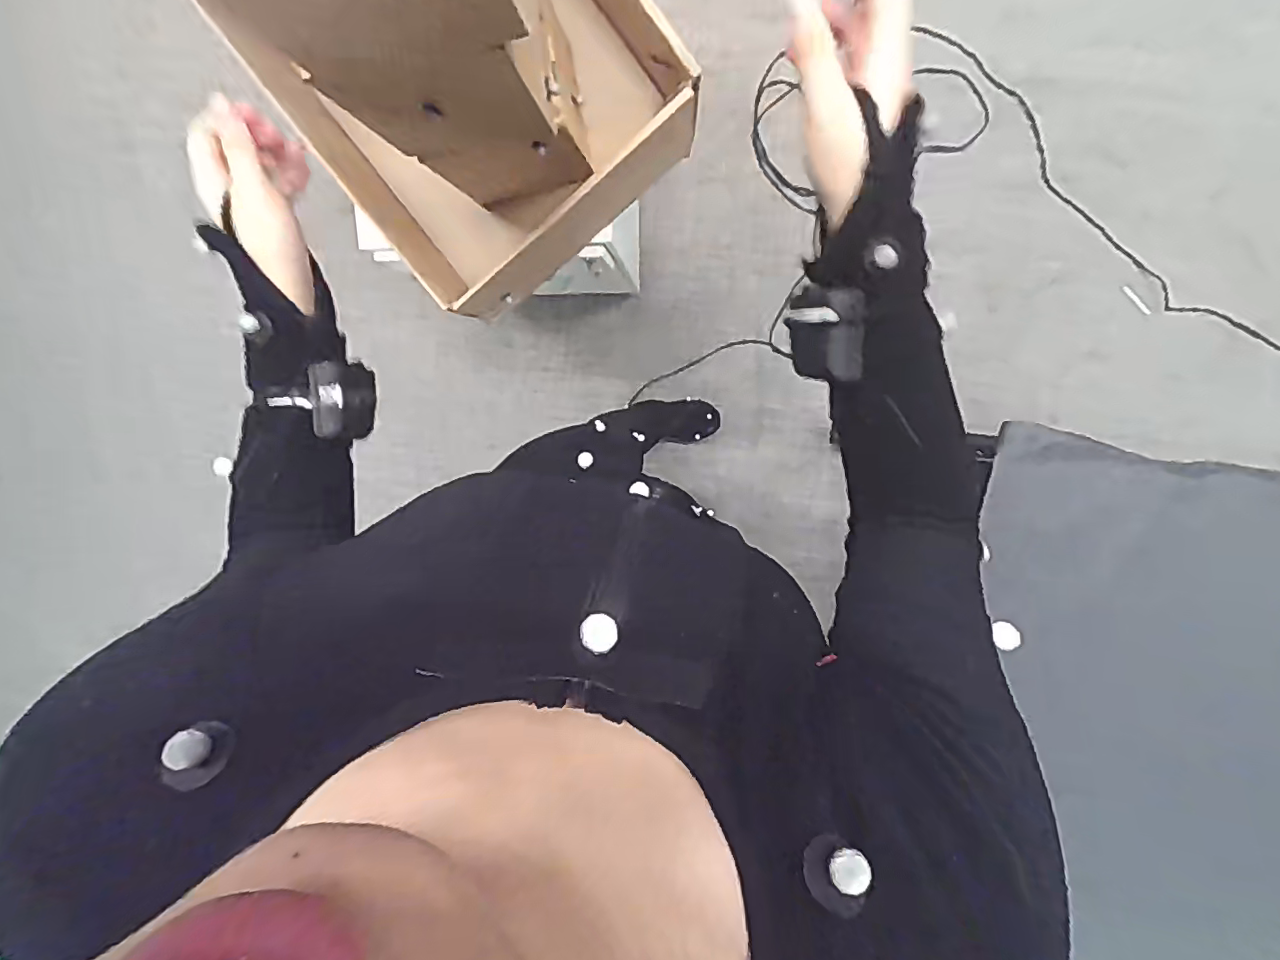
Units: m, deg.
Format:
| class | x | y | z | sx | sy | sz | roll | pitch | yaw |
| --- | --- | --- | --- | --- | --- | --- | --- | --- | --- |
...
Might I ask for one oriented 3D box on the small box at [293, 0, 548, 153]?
| class | x | y | z | sx | sy | sz | roll | pitch | yaw |
| --- | --- | --- | --- | --- | --- | --- | --- | --- | --- |
| small box | -0.192 | -0.435 | 0.506 | 0.179 | 0.176 | 0.168 | -3 | 100 | 8 |
